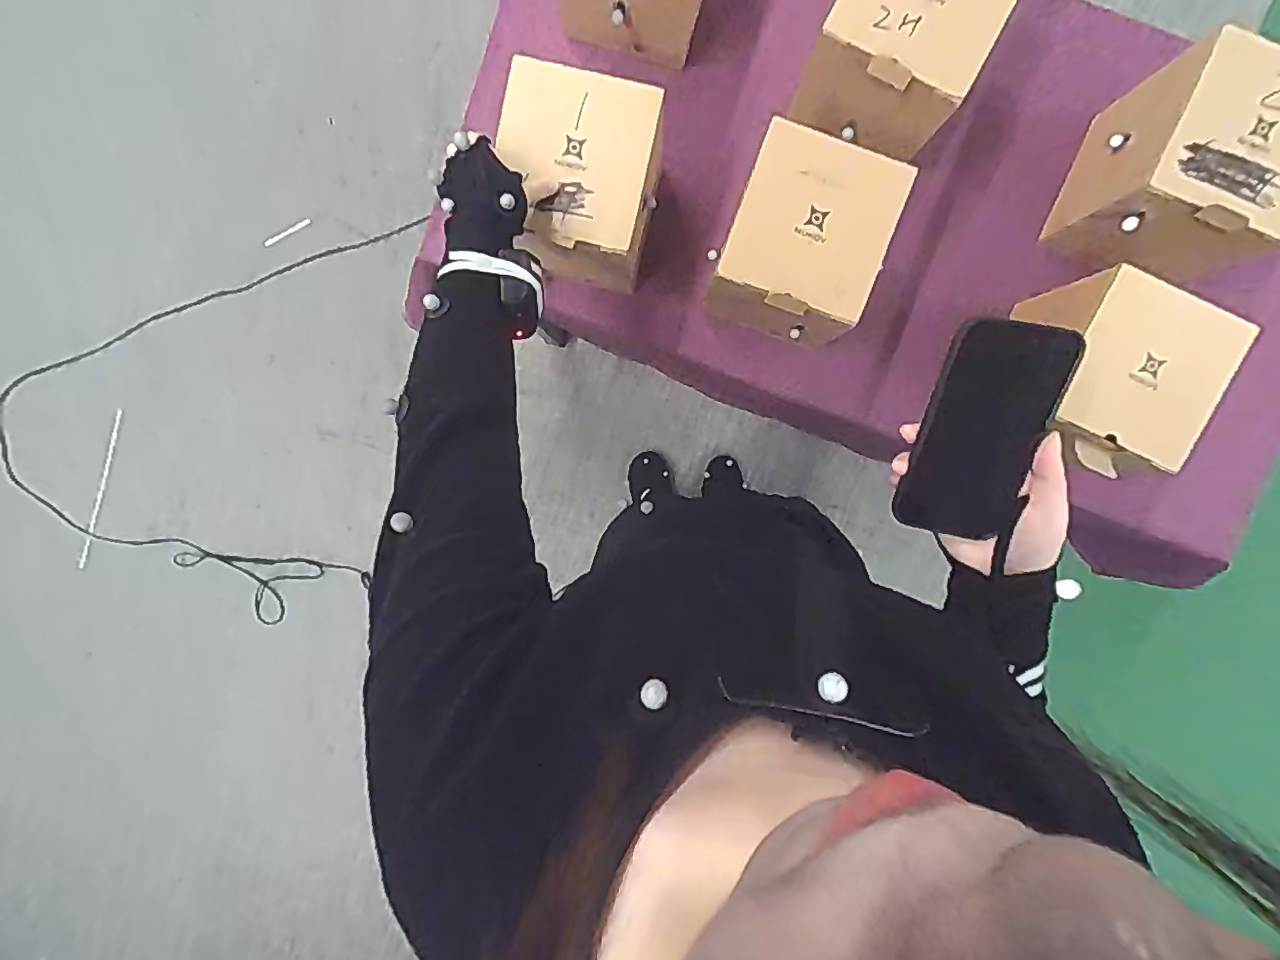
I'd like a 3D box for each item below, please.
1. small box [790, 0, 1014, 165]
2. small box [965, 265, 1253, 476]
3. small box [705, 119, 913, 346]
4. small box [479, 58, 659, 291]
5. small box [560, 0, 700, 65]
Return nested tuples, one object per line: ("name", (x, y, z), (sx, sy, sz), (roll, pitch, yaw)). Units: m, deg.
("small box", (0.297, -0.508, 0.631), (0.168, 0.176, 0.179), (27, 96, 0))
("small box", (0.542, -0.123, 0.656), (0.168, 0.176, 0.179), (25, 95, 0))
("small box", (0.185, -0.278, 0.655), (0.168, 0.176, 0.179), (21, 94, -1))
("small box", (-0.074, -0.349, 0.655), (0.168, 0.176, 0.179), (13, 94, 0))
("small box", (-0.002, -0.639, 0.629), (0.168, 0.176, 0.179), (16, 96, 0))
